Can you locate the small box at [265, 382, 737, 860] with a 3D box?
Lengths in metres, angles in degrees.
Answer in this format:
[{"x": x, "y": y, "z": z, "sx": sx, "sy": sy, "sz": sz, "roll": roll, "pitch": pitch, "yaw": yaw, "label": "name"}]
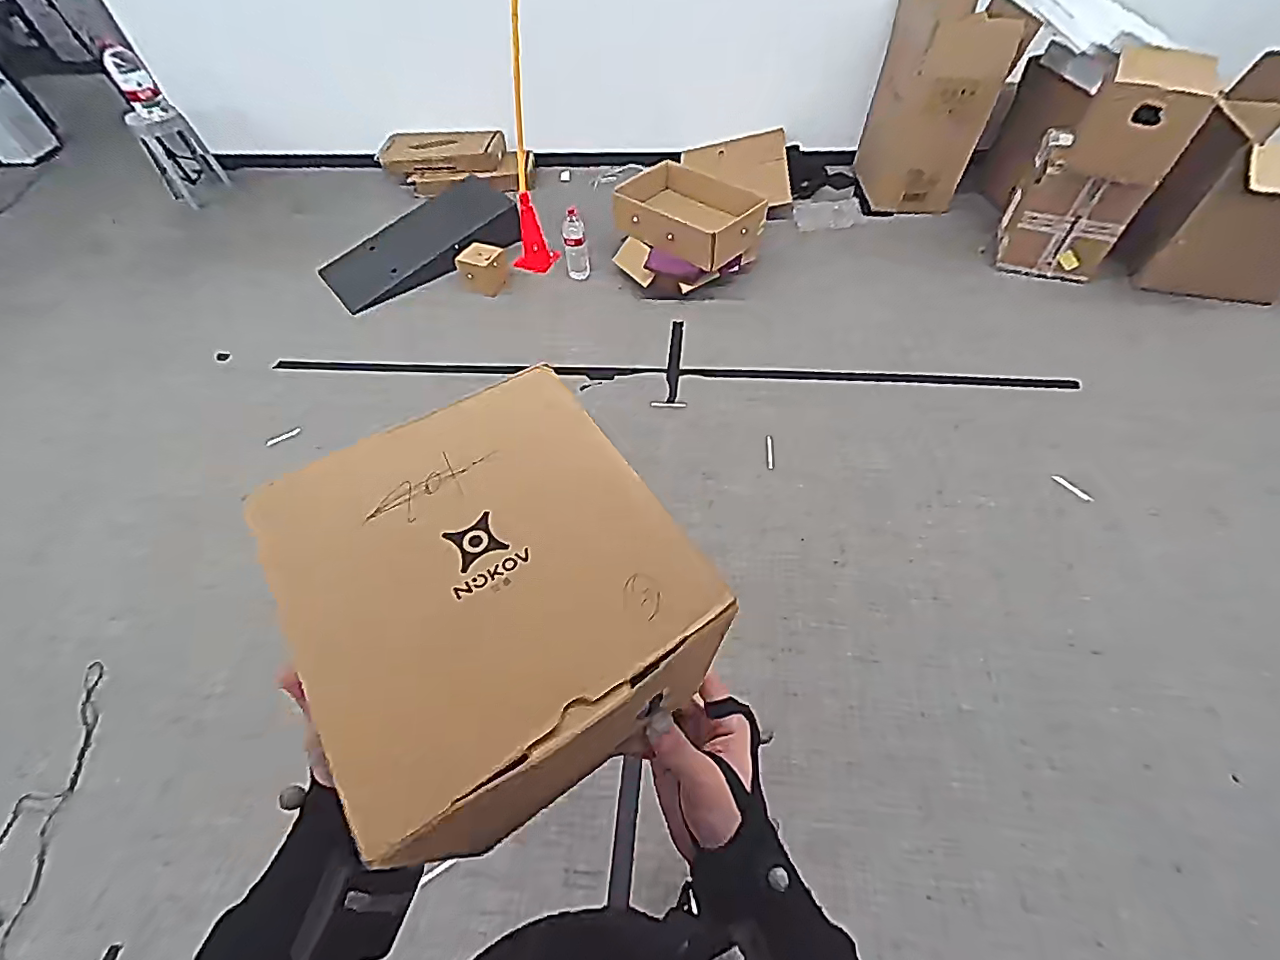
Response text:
[{"x": -0.071, "y": 0.082, "z": 0.320, "sx": 0.168, "sy": 0.176, "sz": 0.179, "roll": -30, "pitch": 61, "yaw": -22, "label": "small box"}]
